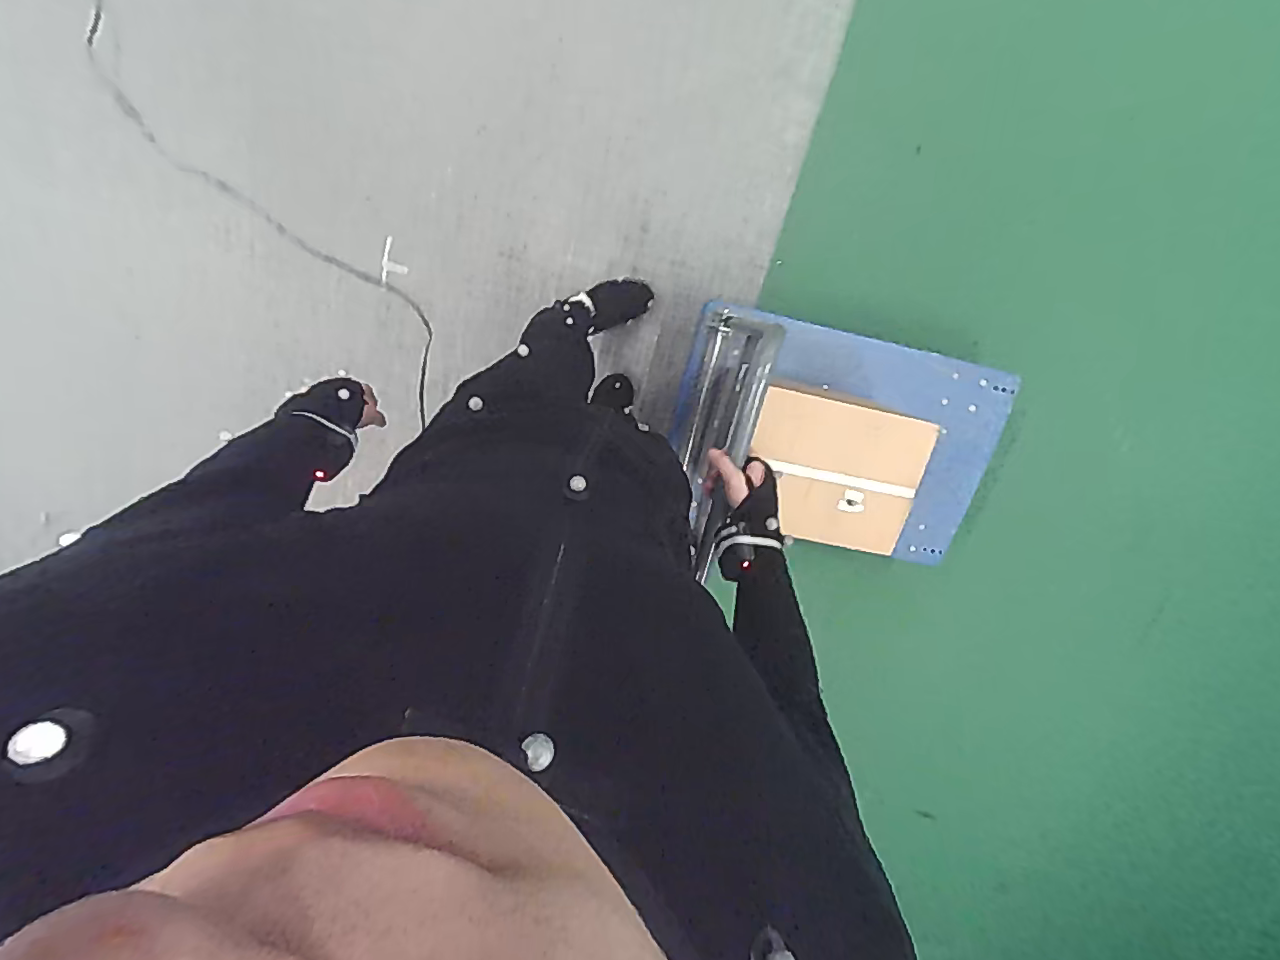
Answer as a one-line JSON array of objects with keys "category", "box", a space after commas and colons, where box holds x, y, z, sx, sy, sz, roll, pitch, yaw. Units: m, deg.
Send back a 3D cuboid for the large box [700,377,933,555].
[{"category": "large box", "box": [0.392, -0.050, 1.313, 0.408, 0.320, 0.320, 12, 107, -7]}]
